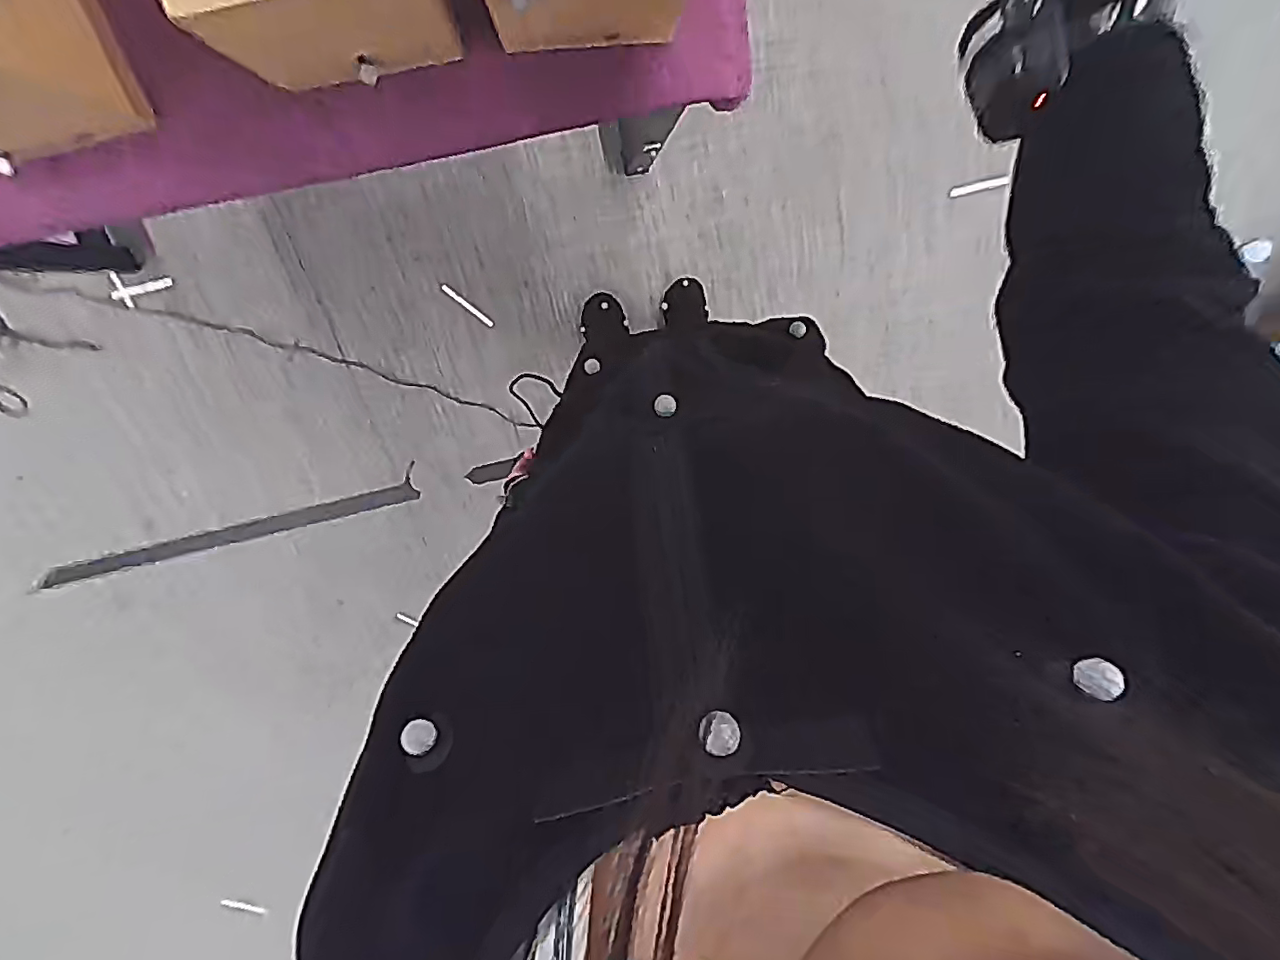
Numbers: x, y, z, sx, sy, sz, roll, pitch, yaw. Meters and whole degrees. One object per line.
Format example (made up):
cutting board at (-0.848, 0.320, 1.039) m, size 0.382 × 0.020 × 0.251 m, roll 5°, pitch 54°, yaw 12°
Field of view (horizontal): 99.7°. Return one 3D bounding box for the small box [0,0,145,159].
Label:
small box at (-0.546, -0.362, 0.405) m, size 0.168 × 0.176 × 0.179 m, roll -16°, pitch 111°, yaw -1°
